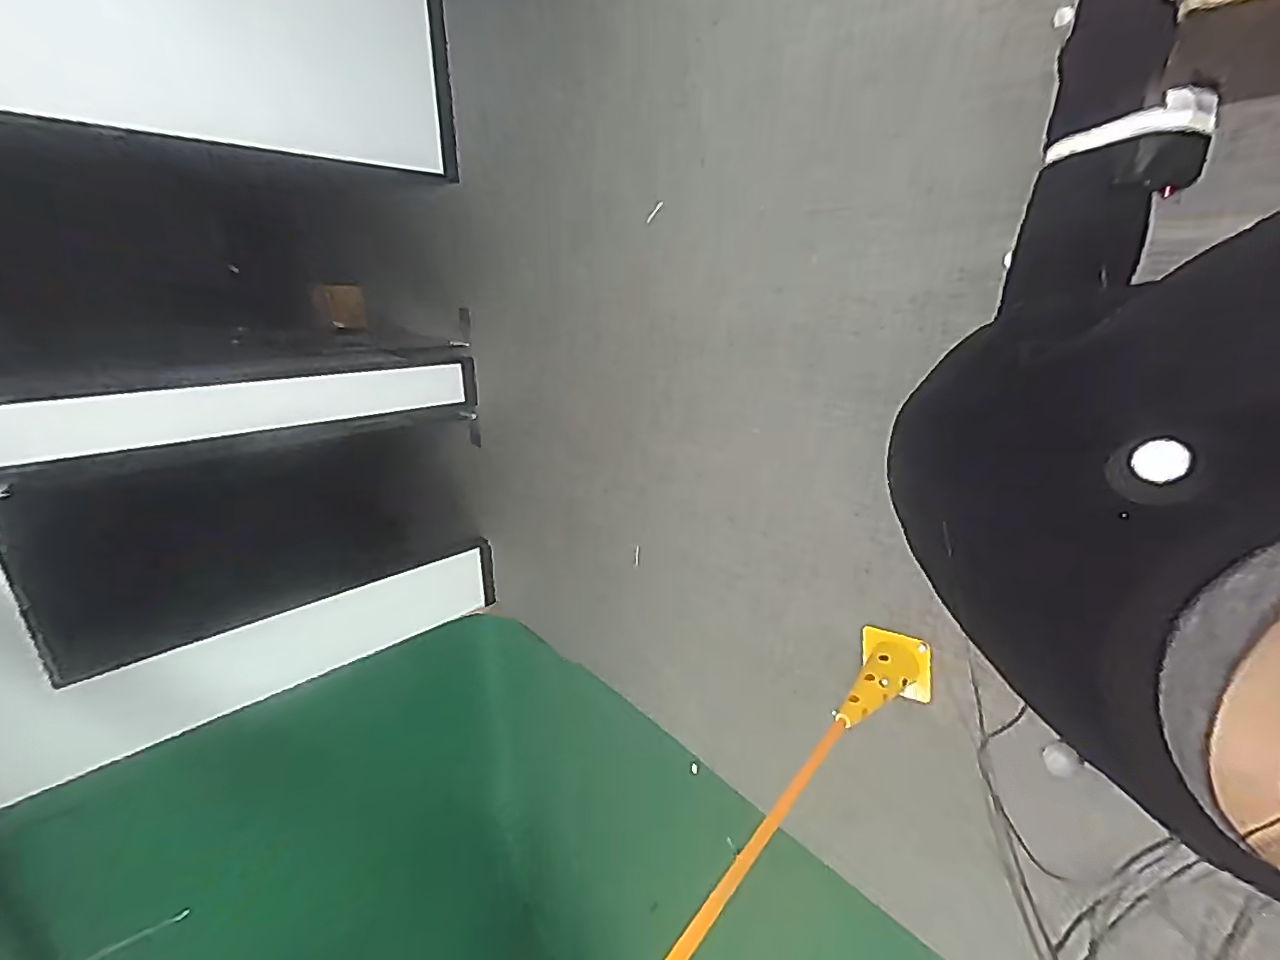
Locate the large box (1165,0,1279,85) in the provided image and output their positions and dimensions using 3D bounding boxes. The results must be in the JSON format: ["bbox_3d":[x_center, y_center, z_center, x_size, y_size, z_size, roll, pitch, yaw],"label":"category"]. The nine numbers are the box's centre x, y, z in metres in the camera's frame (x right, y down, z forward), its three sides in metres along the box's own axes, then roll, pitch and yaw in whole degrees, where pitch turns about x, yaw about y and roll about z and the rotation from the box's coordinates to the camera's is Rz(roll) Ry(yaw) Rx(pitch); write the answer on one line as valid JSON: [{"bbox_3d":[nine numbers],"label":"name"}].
[{"bbox_3d":[0.577,-0.453,0.266,0.408,0.320,0.320,14,116,38],"label":"large box"}]
